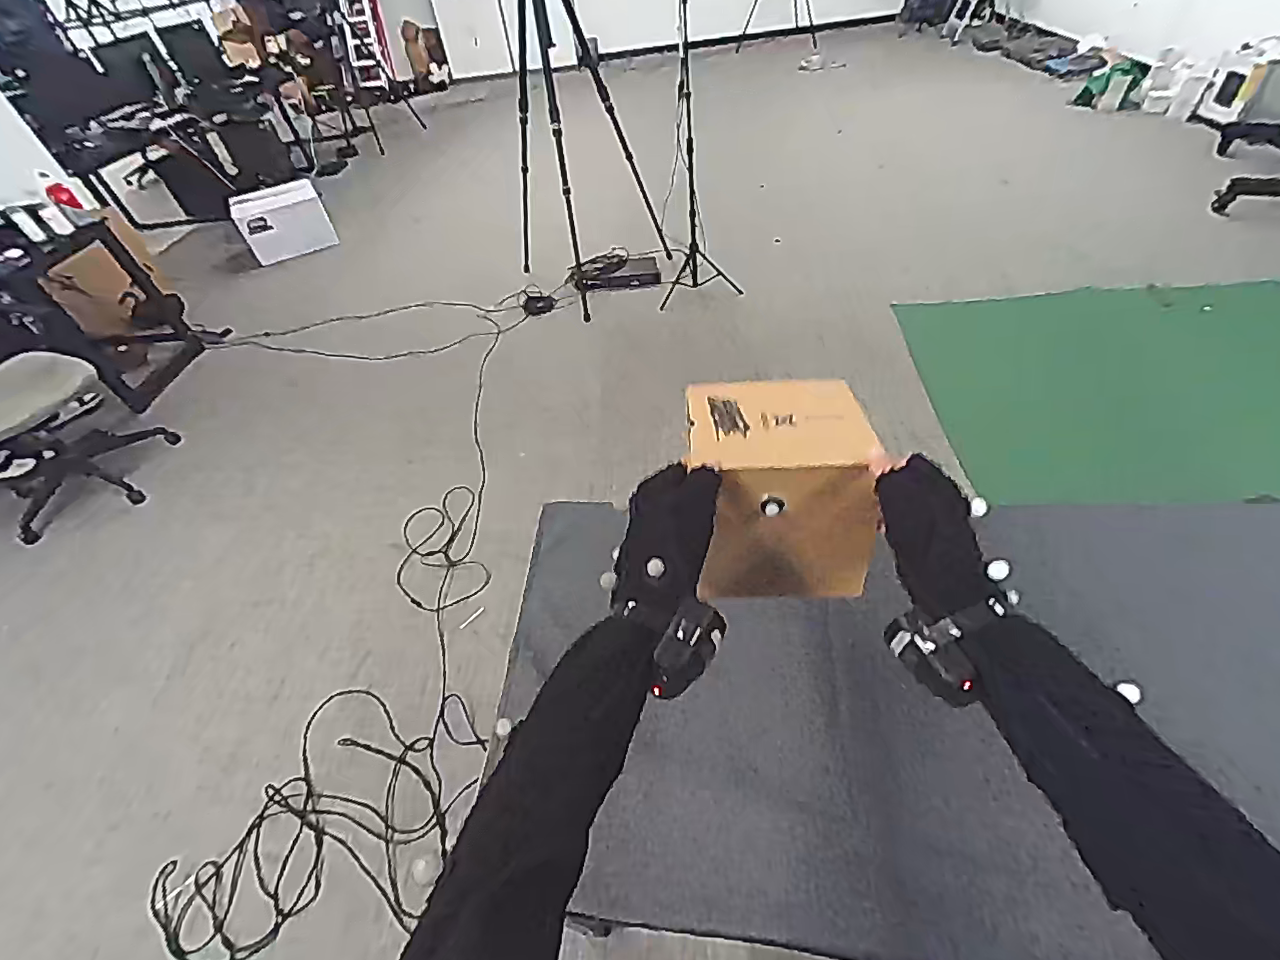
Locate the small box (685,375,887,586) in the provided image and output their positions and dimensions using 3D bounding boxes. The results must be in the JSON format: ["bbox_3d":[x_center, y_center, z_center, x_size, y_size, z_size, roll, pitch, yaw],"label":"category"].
[{"bbox_3d":[0.140,0.000,0.585,0.179,0.176,0.168,-1,36,4],"label":"small box"}]
